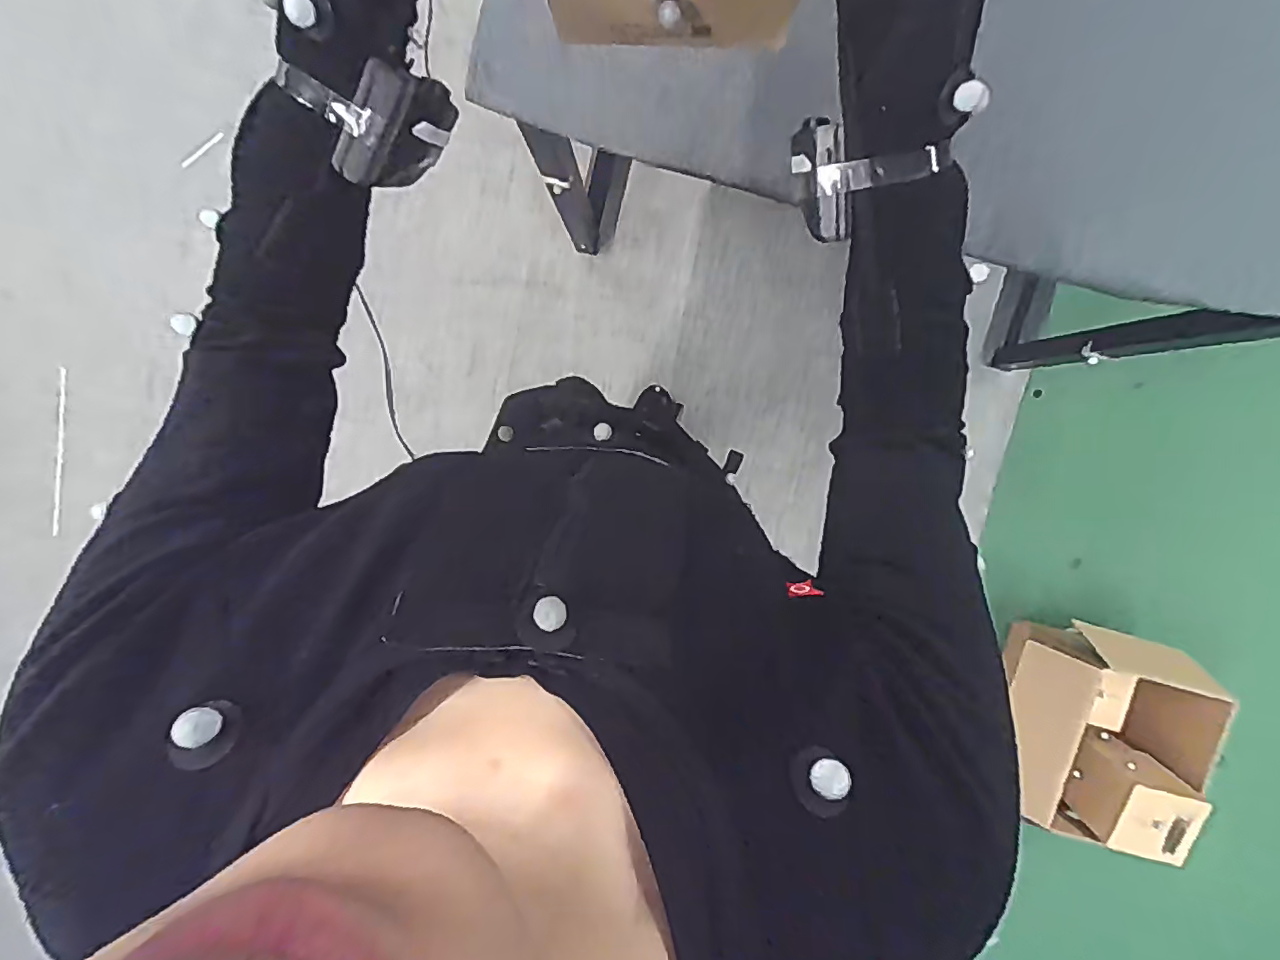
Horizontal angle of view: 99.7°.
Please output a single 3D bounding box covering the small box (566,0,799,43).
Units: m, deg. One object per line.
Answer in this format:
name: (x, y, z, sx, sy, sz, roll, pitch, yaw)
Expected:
small box: (0.027, -0.392, 0.298, 0.168, 0.176, 0.179, 3, 102, 1)
